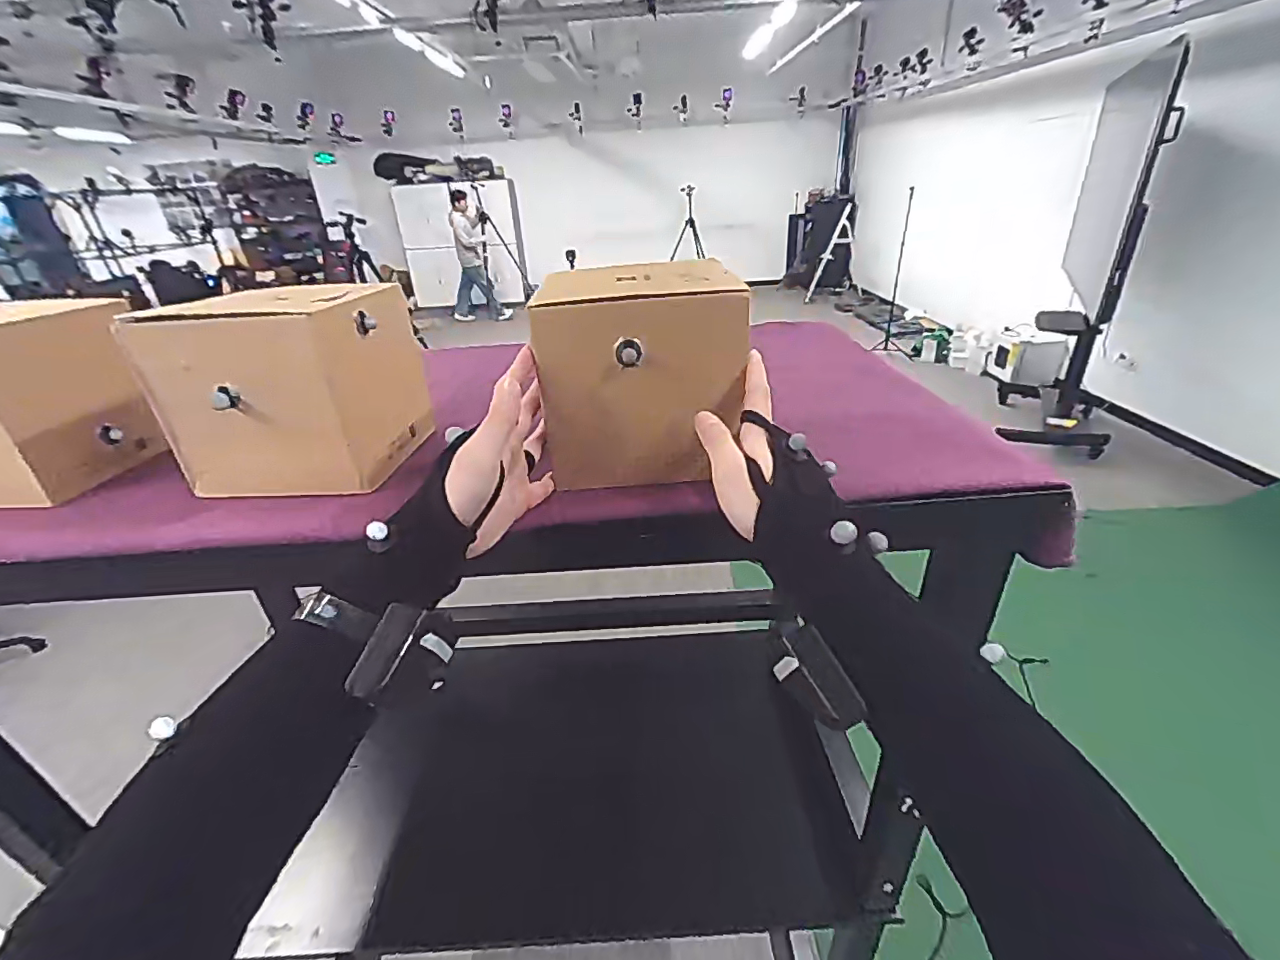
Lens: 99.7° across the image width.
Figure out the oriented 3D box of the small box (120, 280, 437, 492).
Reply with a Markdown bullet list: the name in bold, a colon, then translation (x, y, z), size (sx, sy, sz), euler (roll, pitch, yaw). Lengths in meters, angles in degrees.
- **small box**: translation (-0.333, -0.096, 0.541), size (0.179, 0.176, 0.168), euler (-3, 27, 4)

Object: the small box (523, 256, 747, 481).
- **small box**: translation (0.002, -0.109, 0.516), size (0.179, 0.176, 0.168), euler (-4, 29, 1)
